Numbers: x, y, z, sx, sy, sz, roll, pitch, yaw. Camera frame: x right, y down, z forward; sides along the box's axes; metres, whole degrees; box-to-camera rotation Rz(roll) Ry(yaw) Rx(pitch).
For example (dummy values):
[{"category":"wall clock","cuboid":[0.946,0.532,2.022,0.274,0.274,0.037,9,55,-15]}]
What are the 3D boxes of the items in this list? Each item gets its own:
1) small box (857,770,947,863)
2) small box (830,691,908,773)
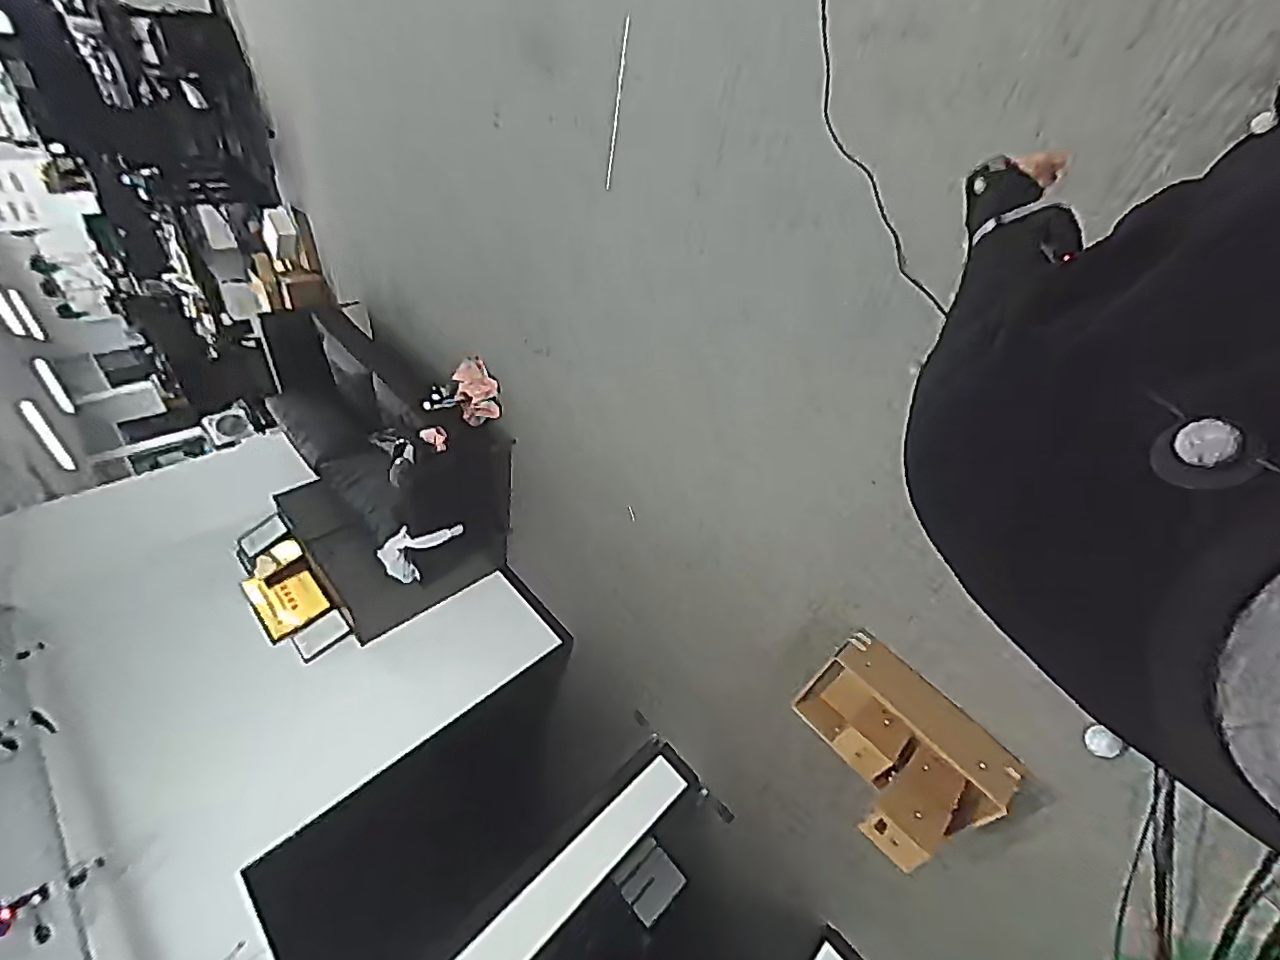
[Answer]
[{"category":"small box","cuboid":[0.840,1.068,1.735,0.179,0.176,0.168,39,137,28]},{"category":"small box","cuboid":[0.818,0.895,1.927,0.168,0.176,0.179,41,138,24]}]
